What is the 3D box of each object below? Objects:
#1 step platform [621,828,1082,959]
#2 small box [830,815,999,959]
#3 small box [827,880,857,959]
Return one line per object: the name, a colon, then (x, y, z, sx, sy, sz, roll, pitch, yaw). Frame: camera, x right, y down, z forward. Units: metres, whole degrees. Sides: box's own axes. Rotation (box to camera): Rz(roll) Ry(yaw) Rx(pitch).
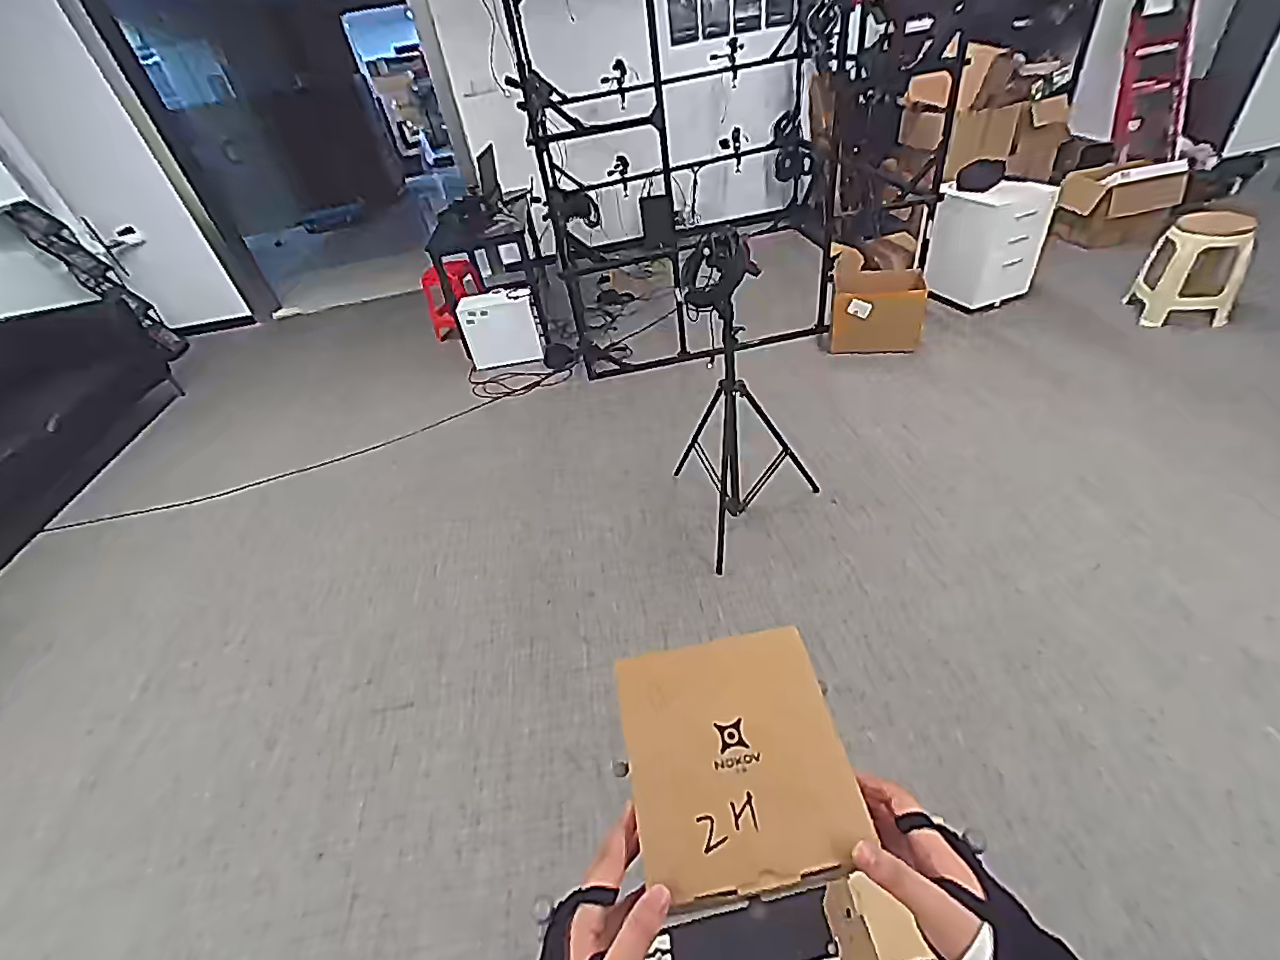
step platform: (0.322, 0.820, 0.863, 0.684, 0.204, 0.286, -12, 38, -3)
small box: (0.409, 0.656, 0.842, 0.179, 0.176, 0.168, -11, 39, 1)
small box: (0.433, 0.793, 0.930, 0.179, 0.176, 0.168, -13, 38, -1)
